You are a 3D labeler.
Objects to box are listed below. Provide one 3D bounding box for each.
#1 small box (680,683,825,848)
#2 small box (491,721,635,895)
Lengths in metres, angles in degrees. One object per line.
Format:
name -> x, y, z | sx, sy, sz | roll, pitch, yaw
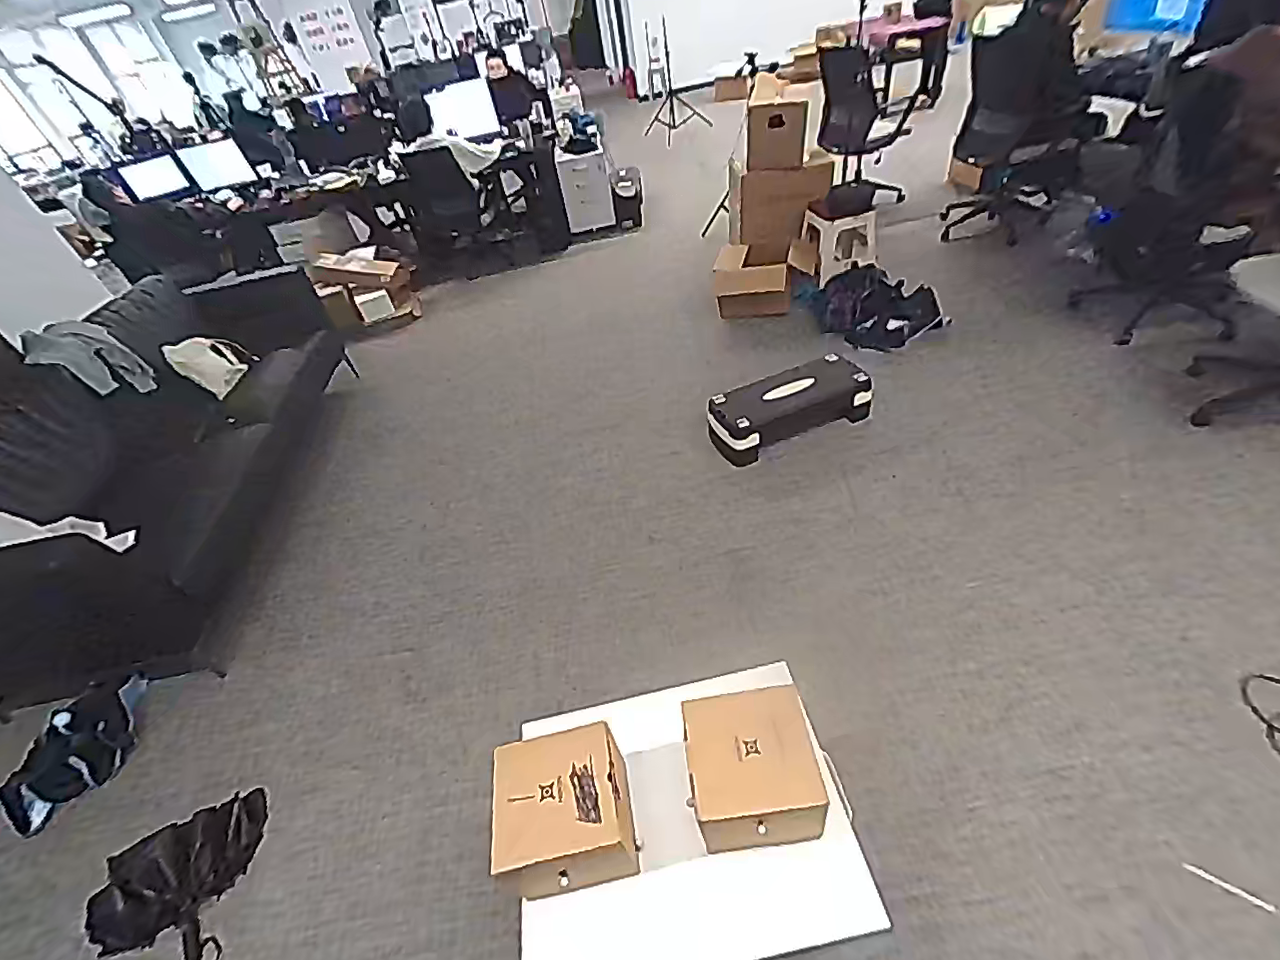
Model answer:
small box -> 0.165, 0.433, 0.815 | 0.179, 0.176, 0.168 | -10, 43, 3
small box -> -0.109, 0.494, 0.814 | 0.179, 0.176, 0.168 | -14, 42, 0
